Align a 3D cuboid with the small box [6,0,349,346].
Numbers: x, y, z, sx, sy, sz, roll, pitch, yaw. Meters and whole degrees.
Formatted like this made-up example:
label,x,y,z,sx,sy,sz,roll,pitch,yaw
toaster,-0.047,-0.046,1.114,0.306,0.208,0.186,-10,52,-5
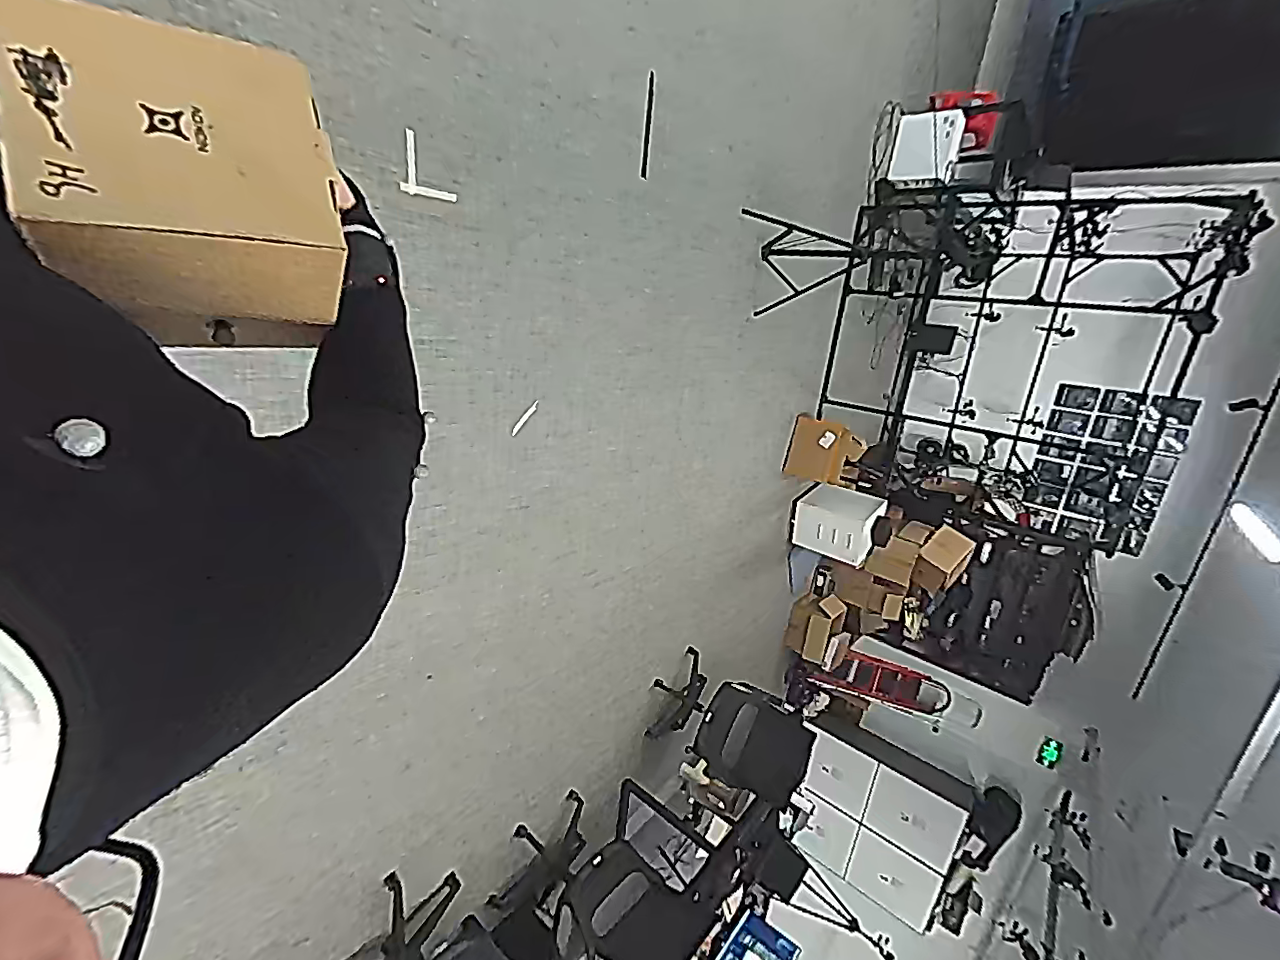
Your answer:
label,x,y,z,sx,sy,sz,roll,pitch,yaw
small box,-0.363,-0.223,0.451,0.179,0.176,0.168,-10,80,-36
